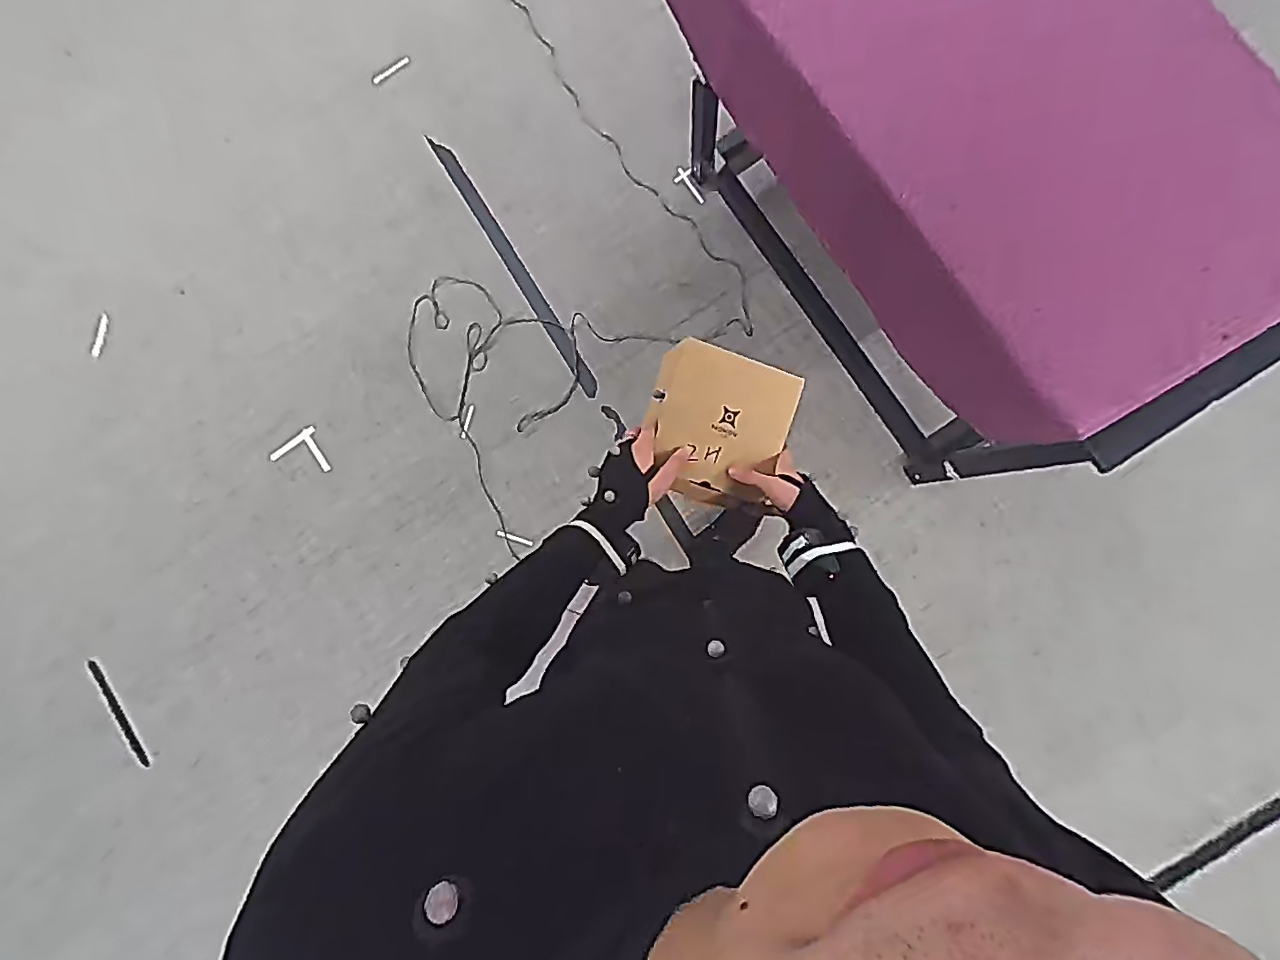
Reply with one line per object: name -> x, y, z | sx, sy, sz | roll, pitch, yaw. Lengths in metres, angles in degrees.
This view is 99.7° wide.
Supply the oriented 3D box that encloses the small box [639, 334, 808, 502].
small box -> 0.105, -0.084, 0.766 | 0.168, 0.176, 0.179 | 18, 93, -8
